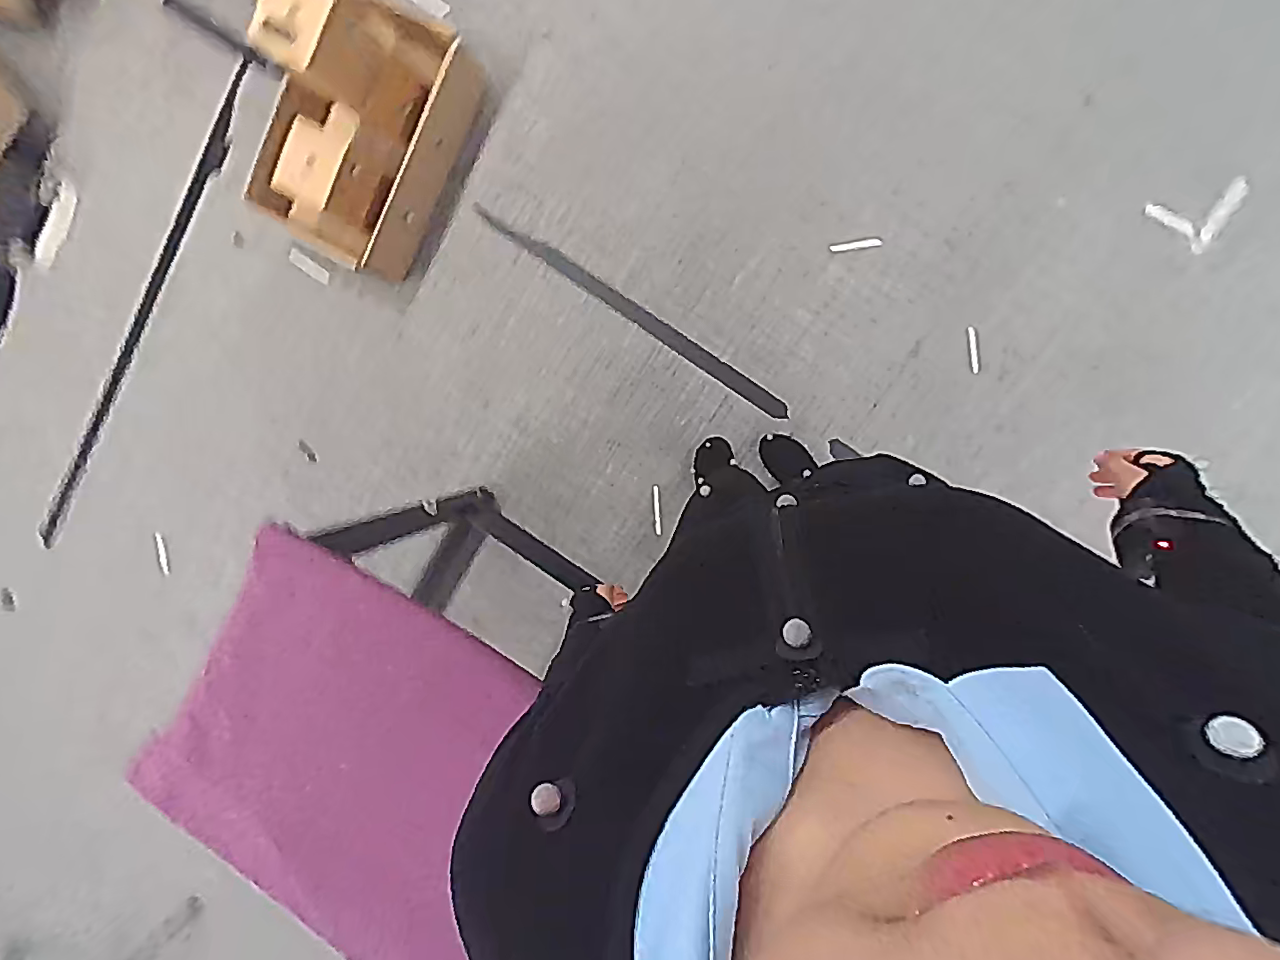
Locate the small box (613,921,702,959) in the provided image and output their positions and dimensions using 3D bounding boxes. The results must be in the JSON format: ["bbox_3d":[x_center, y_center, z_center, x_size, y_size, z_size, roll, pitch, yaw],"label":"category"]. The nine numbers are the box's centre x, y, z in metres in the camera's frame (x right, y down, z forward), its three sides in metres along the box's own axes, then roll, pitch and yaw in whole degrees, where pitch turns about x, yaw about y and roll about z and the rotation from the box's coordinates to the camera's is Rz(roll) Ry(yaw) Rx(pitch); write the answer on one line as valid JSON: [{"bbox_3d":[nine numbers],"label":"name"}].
[{"bbox_3d":[0.020,0.795,0.768,0.168,0.176,0.179,33,100,5],"label":"small box"}]

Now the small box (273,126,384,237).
[{"bbox_3d":[-0.819,-0.787,1.441,0.168,0.176,0.179,27,98,7],"label":"small box"}]

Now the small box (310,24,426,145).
[{"bbox_3d":[-0.699,-1.014,1.403,0.179,0.176,0.168,29,100,5],"label":"small box"}]
